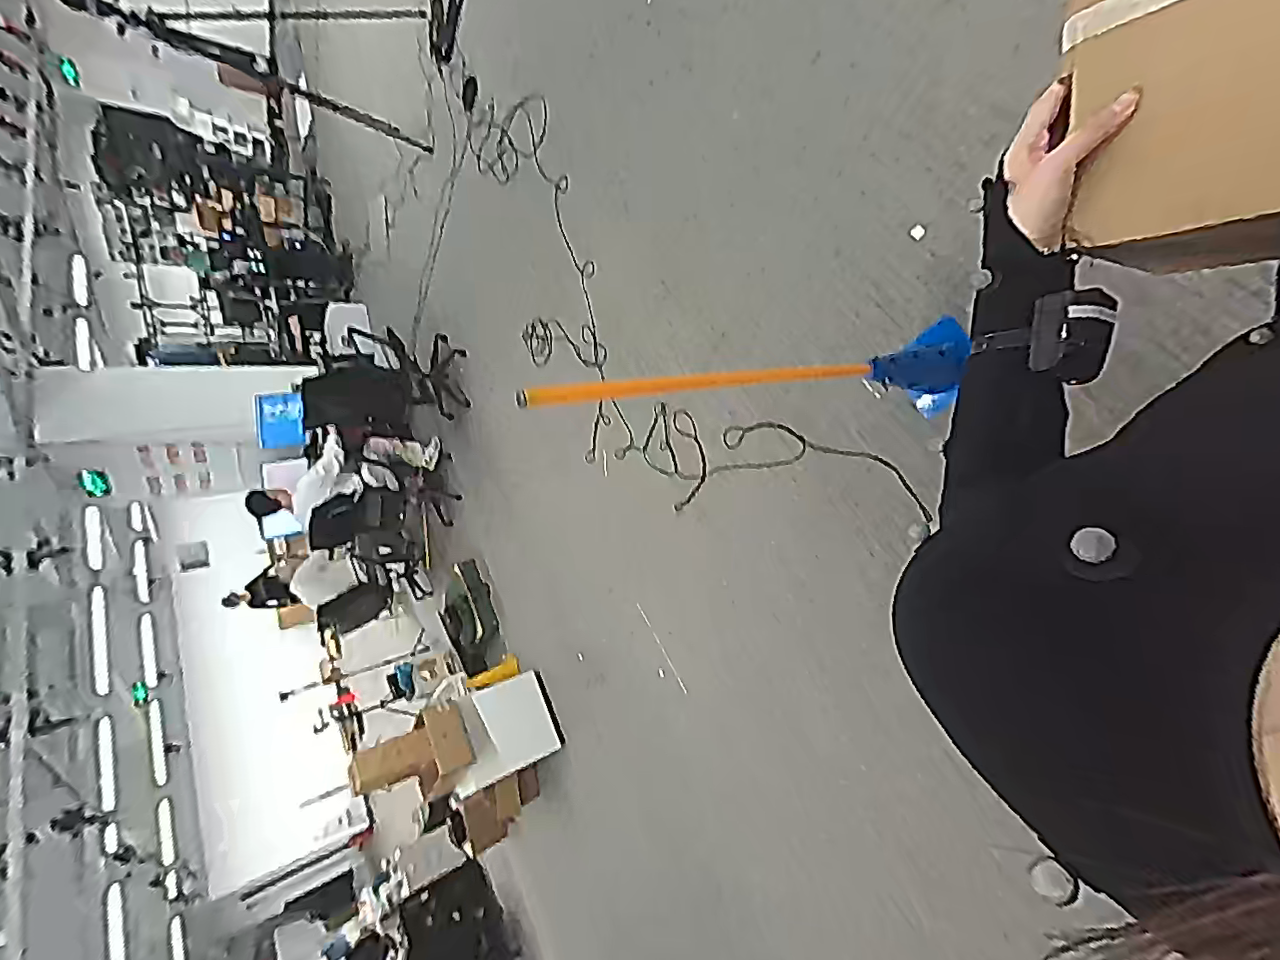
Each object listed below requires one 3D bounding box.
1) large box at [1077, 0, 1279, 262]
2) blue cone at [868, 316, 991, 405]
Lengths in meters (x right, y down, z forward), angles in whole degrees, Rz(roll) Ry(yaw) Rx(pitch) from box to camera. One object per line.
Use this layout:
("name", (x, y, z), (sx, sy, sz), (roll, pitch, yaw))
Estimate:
("large box", (0.565, -0.351, 0.335), (0.408, 0.320, 0.320), (8, 106, 50))
("blue cone", (0.660, -0.289, 1.318), (0.192, 0.380, 0.193), (-43, 64, 46))
